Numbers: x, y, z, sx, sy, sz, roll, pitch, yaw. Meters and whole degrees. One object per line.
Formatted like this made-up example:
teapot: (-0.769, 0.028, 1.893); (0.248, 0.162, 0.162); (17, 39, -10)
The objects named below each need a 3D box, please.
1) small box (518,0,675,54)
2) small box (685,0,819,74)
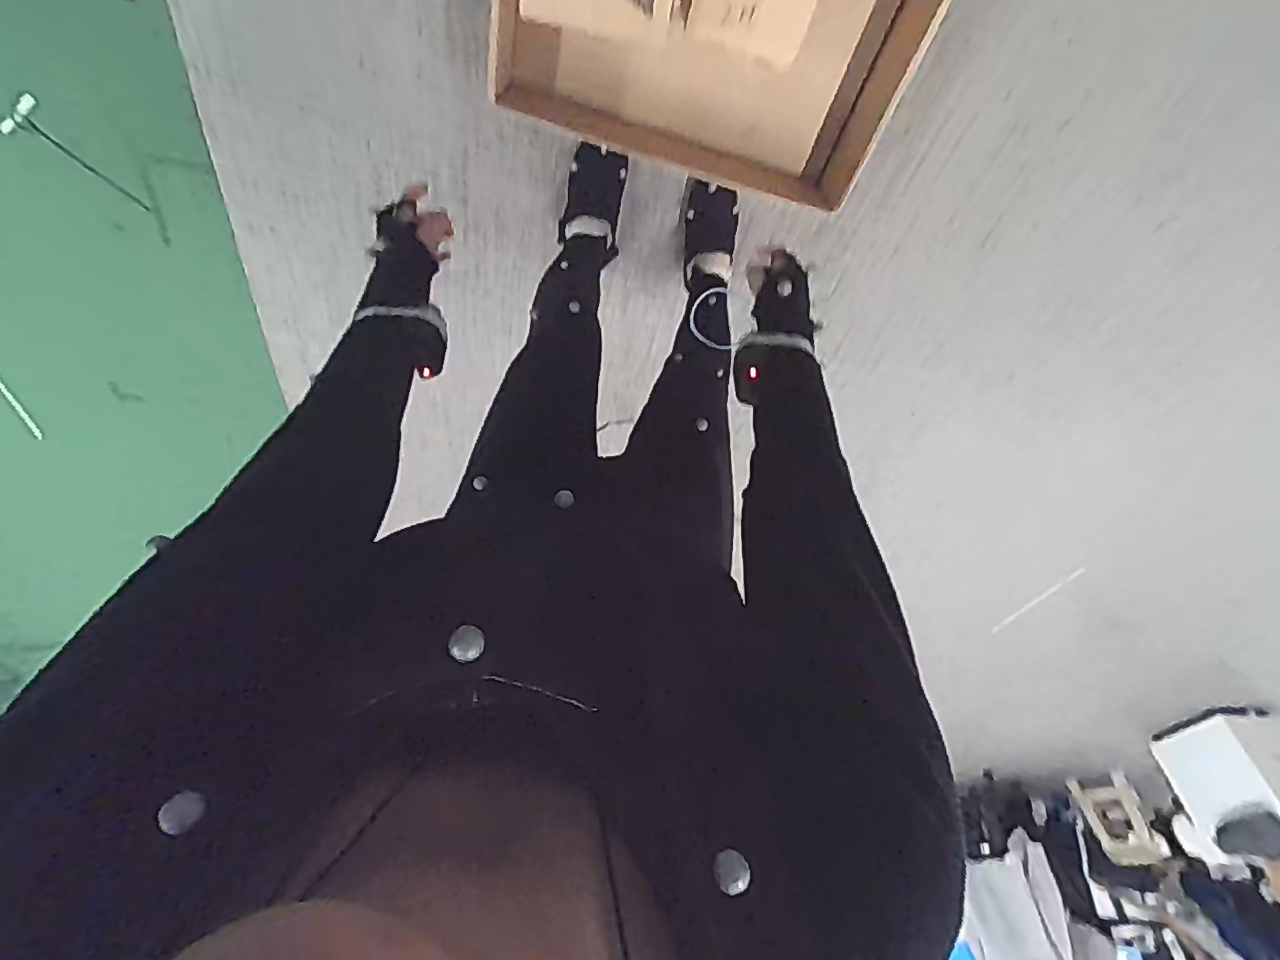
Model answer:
small box: (-0.037, -0.634, 0.628); (0.179, 0.176, 0.168); (10, 137, -6)
small box: (0.166, -0.720, 0.764); (0.168, 0.176, 0.179); (14, 136, -9)
